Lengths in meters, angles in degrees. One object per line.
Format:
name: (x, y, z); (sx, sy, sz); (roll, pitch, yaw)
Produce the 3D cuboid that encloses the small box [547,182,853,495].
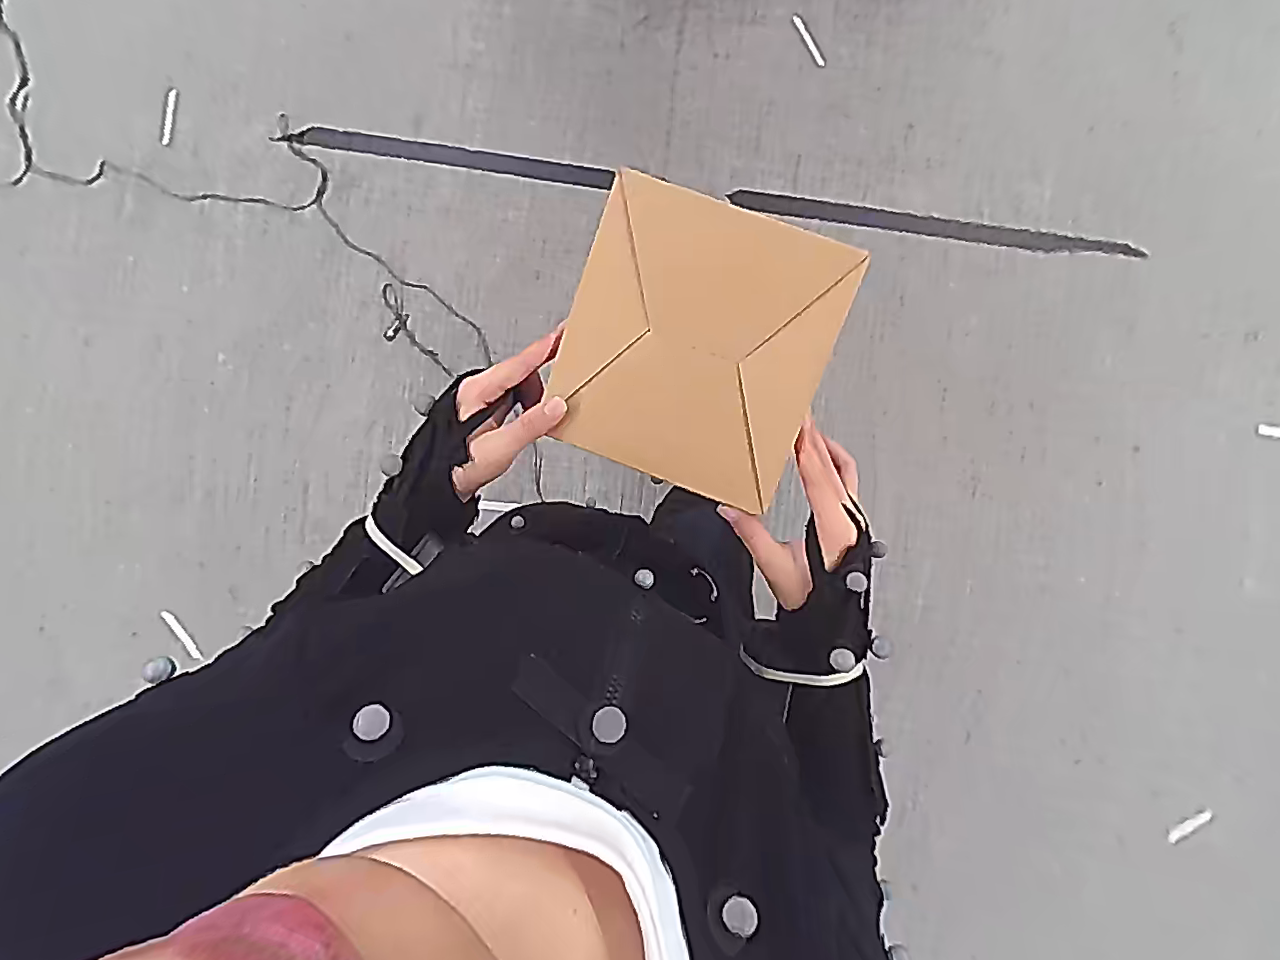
small box: (0.042, -0.095, 0.429); (0.168, 0.176, 0.179); (20, 99, 3)
